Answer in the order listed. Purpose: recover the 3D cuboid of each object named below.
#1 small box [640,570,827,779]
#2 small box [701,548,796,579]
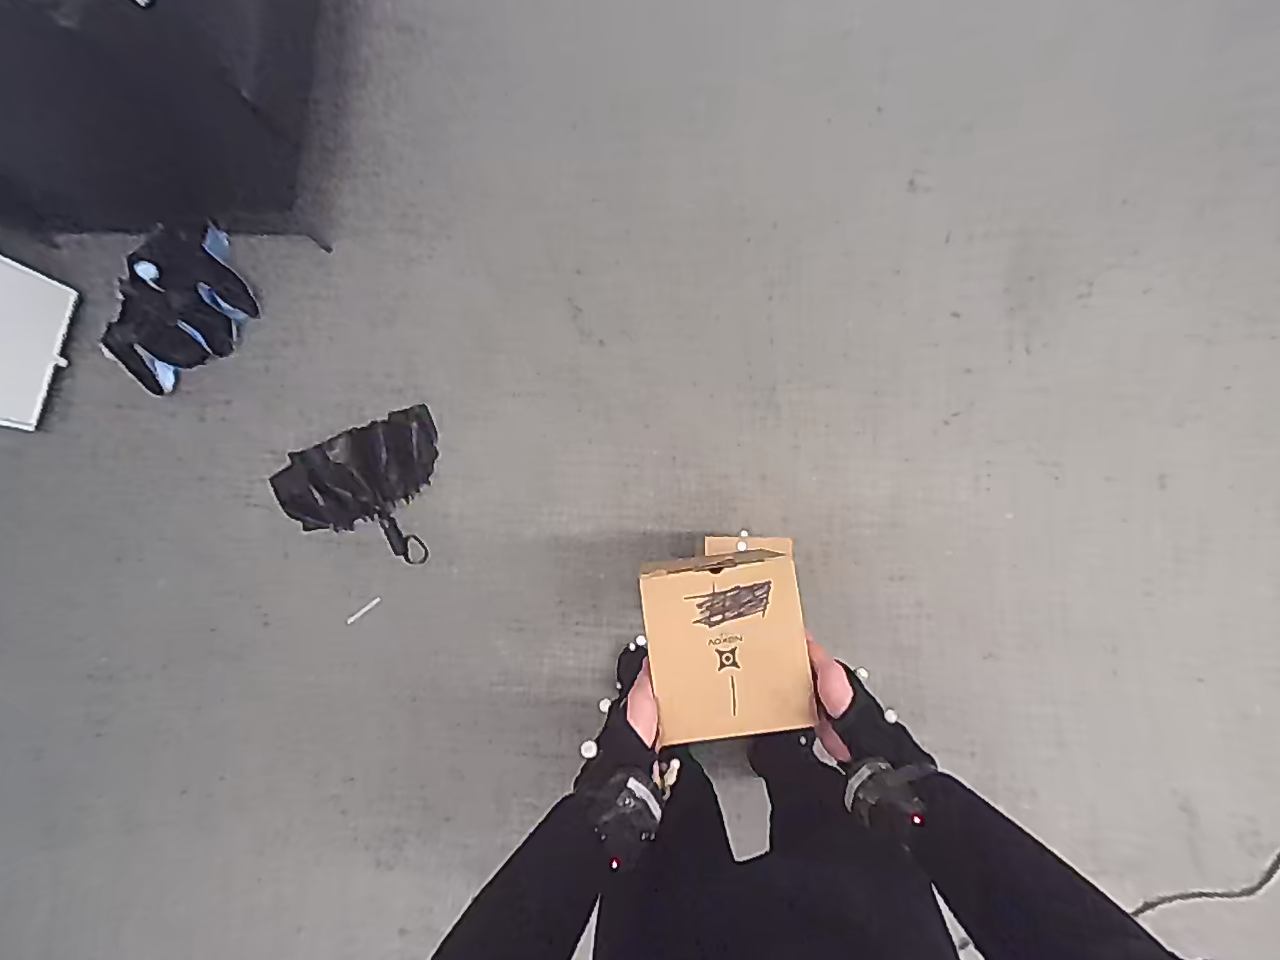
[{"bbox_3d":[0.092,0.200,0.609,0.168,0.176,0.179,-9,87,2],"label":"small box"},{"bbox_3d":[0.207,0.224,1.062,0.168,0.176,0.179,0,81,2],"label":"small box"}]
